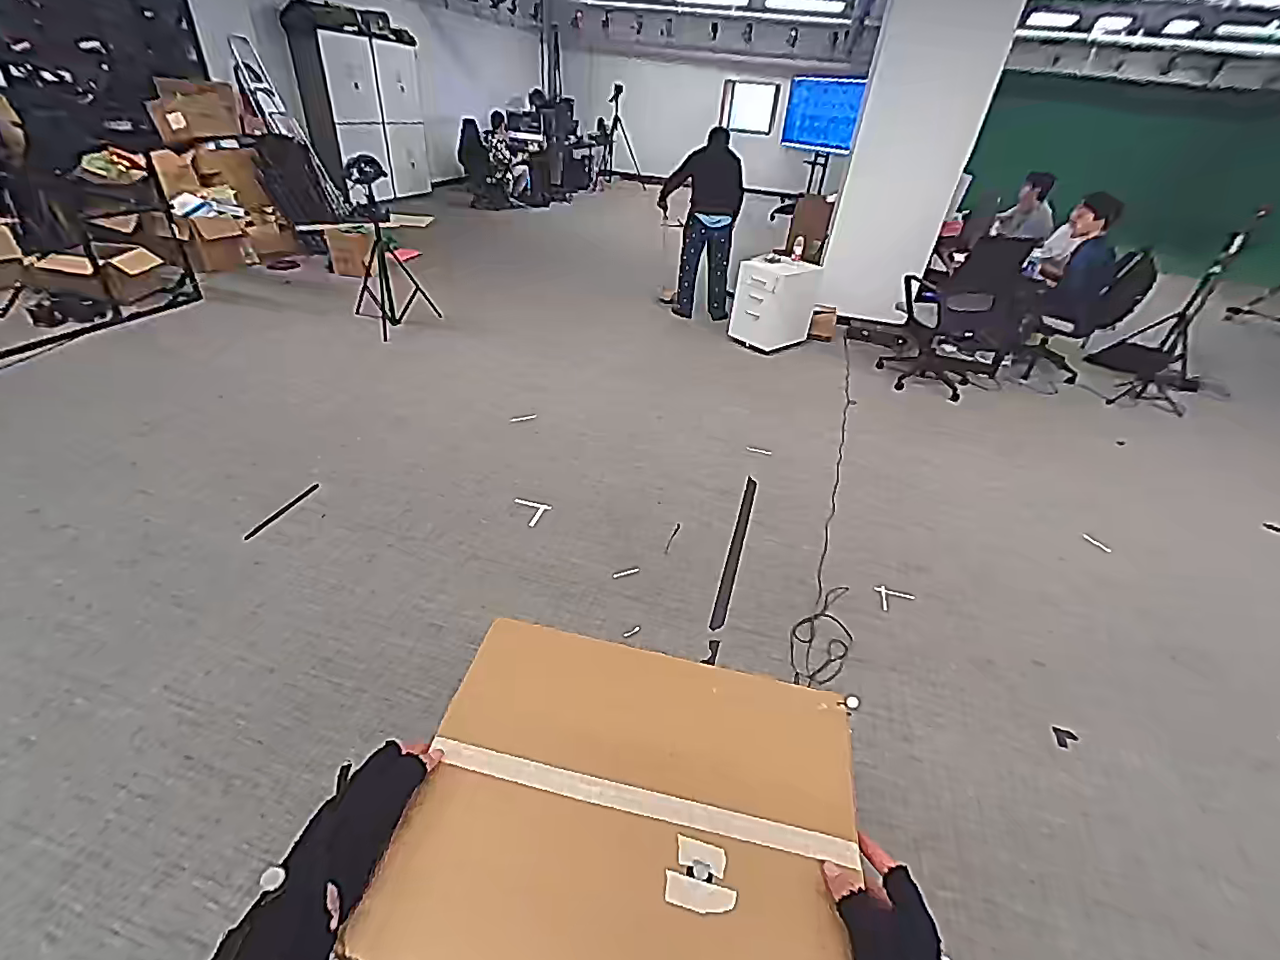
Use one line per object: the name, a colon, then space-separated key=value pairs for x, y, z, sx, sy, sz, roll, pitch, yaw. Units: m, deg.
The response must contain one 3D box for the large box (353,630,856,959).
large box: x=-0.016 y=0.421 z=0.607 sx=0.408 sy=0.320 sz=0.320 roll=11 pitch=41 yaw=7
